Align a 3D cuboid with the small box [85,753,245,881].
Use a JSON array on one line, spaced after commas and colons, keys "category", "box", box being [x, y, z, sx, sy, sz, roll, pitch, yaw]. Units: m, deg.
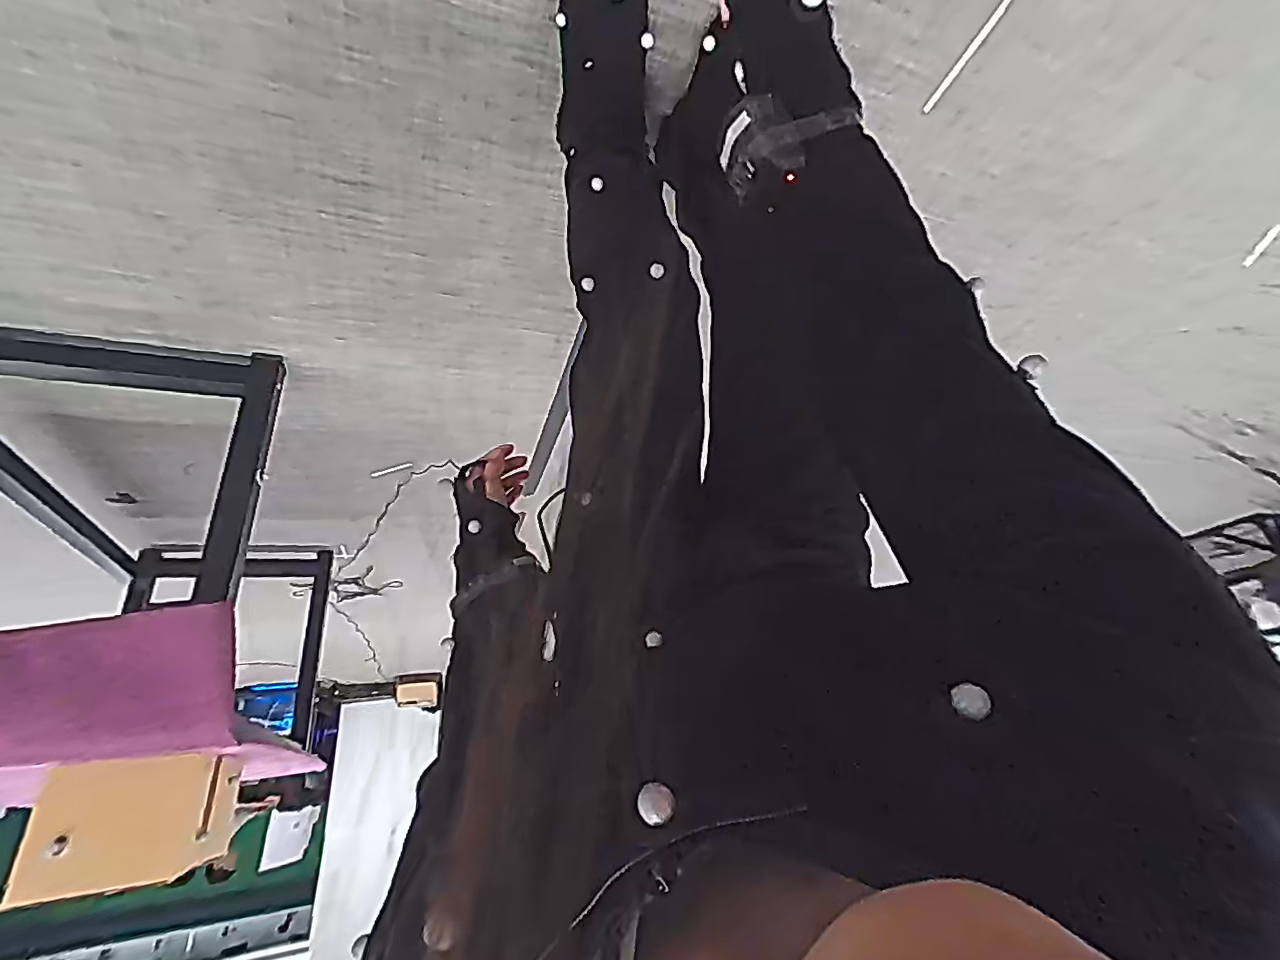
[{"category": "small box", "box": [-0.858, 0.609, 0.997, 0.168, 0.176, 0.179, 3, 151, -22]}]
